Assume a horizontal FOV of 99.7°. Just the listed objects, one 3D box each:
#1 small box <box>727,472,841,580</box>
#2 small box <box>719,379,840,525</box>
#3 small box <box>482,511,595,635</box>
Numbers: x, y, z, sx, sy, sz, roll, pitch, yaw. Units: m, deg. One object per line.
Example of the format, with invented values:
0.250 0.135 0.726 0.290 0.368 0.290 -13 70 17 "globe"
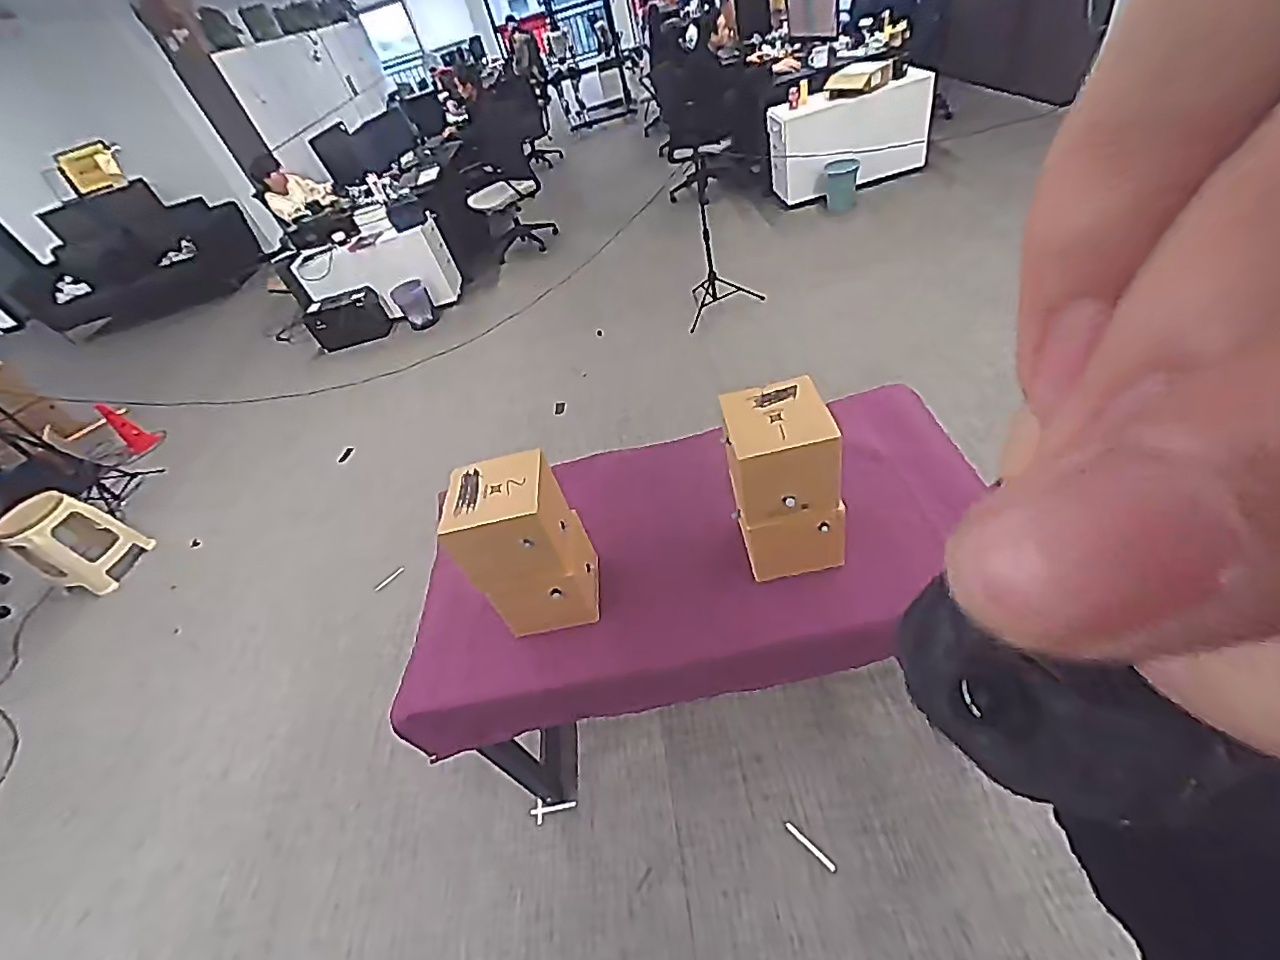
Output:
0.280 0.075 1.054 0.179 0.176 0.168 -12 43 6 "small box"
0.240 -0.048 0.951 0.168 0.176 0.179 -13 44 6 "small box"
-0.193 0.190 1.091 0.179 0.176 0.168 -12 43 6 "small box"
